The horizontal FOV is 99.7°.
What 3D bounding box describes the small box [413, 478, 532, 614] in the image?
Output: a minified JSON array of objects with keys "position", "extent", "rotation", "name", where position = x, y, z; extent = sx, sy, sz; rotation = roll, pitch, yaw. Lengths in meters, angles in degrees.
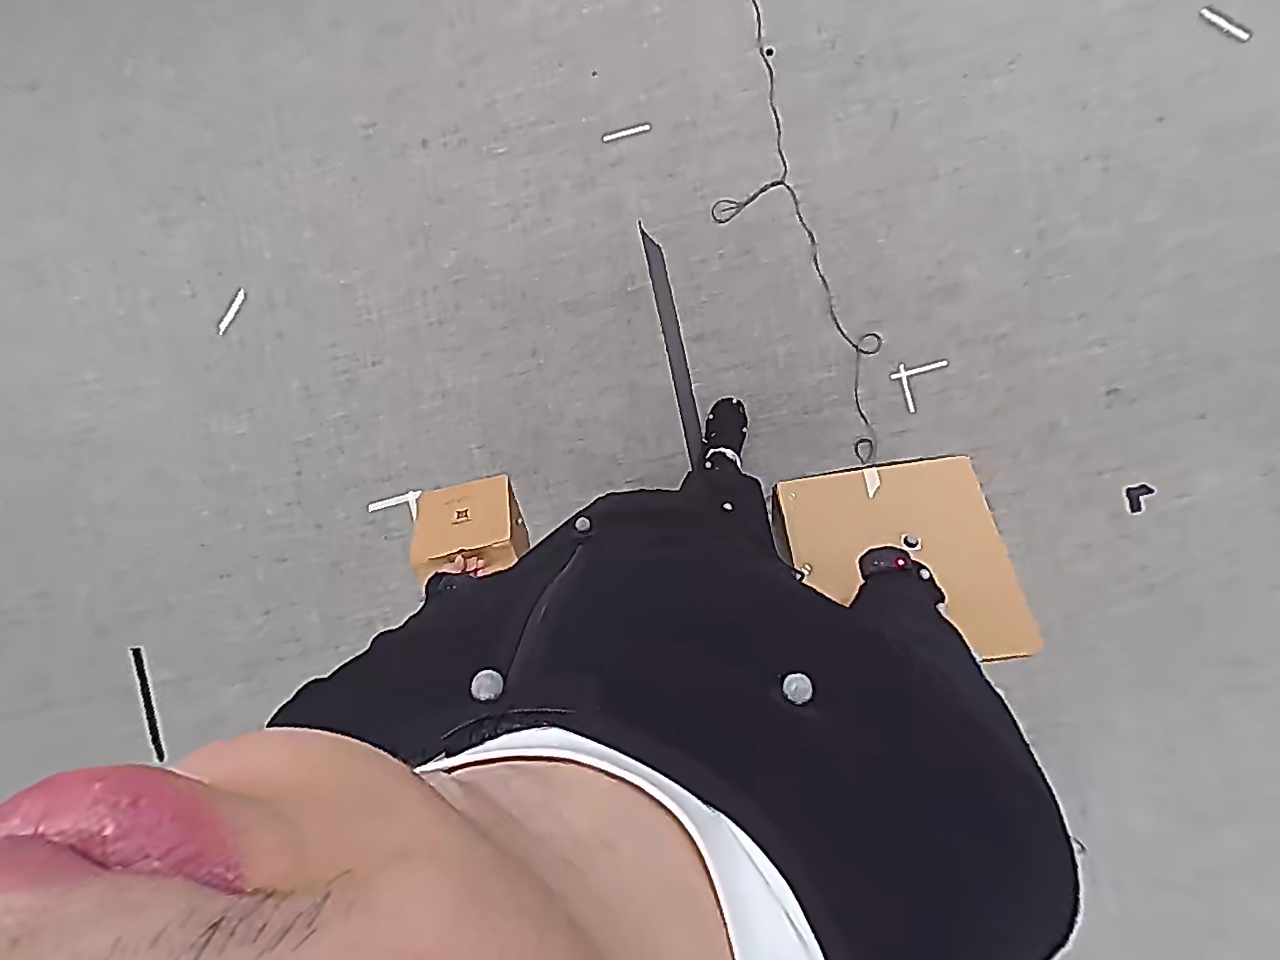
[{"position":[-0.302,0.127,1.001],"extent":[0.168,0.179,0.176],"rotation":[-13,130,-7],"name":"small box"}]
